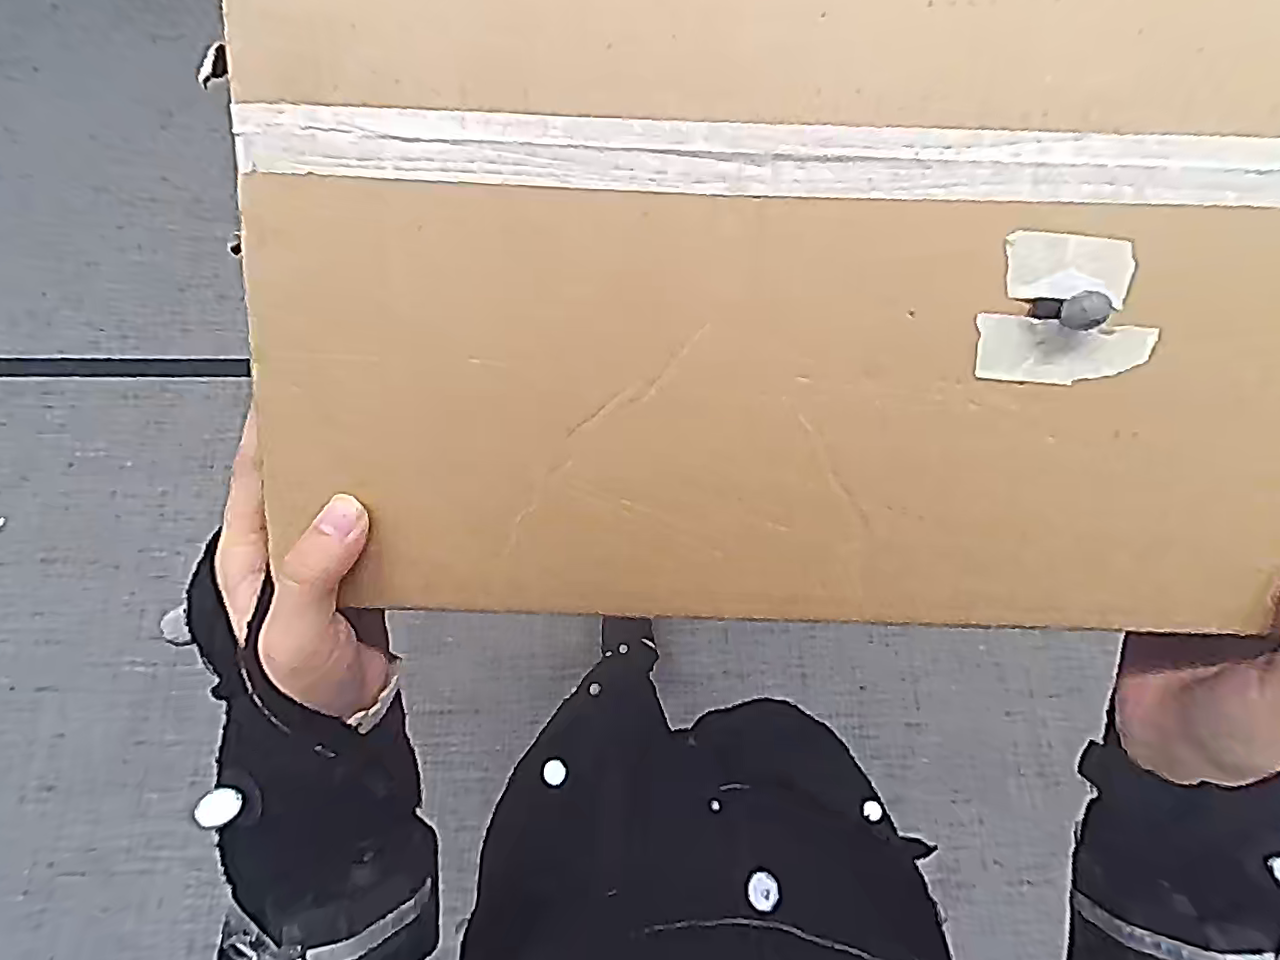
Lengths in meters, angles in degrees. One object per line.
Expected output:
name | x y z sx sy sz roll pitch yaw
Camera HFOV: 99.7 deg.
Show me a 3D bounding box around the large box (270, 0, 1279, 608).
large box | 0.069 -0.121 0.337 0.408 0.320 0.320 1 98 -2
